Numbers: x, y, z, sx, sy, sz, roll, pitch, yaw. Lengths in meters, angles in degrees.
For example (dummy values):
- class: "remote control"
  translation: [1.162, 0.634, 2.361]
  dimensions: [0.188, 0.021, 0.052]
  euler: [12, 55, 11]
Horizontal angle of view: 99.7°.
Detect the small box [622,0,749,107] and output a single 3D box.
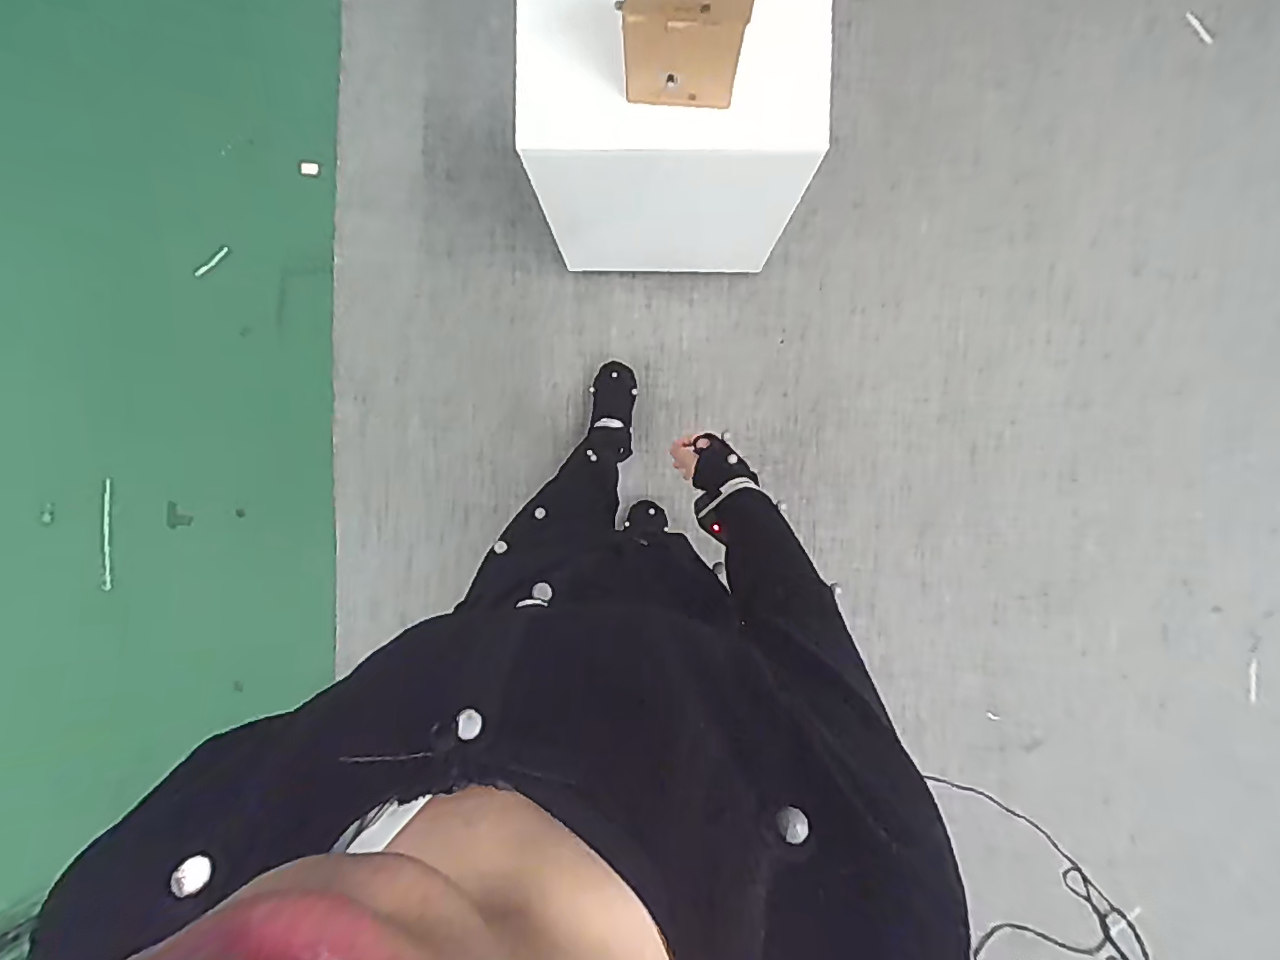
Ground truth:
- class: "small box"
  translation: [0.065, -0.683, 0.774]
  dimensions: [0.168, 0.176, 0.179]
  euler: [4, 90, 1]
